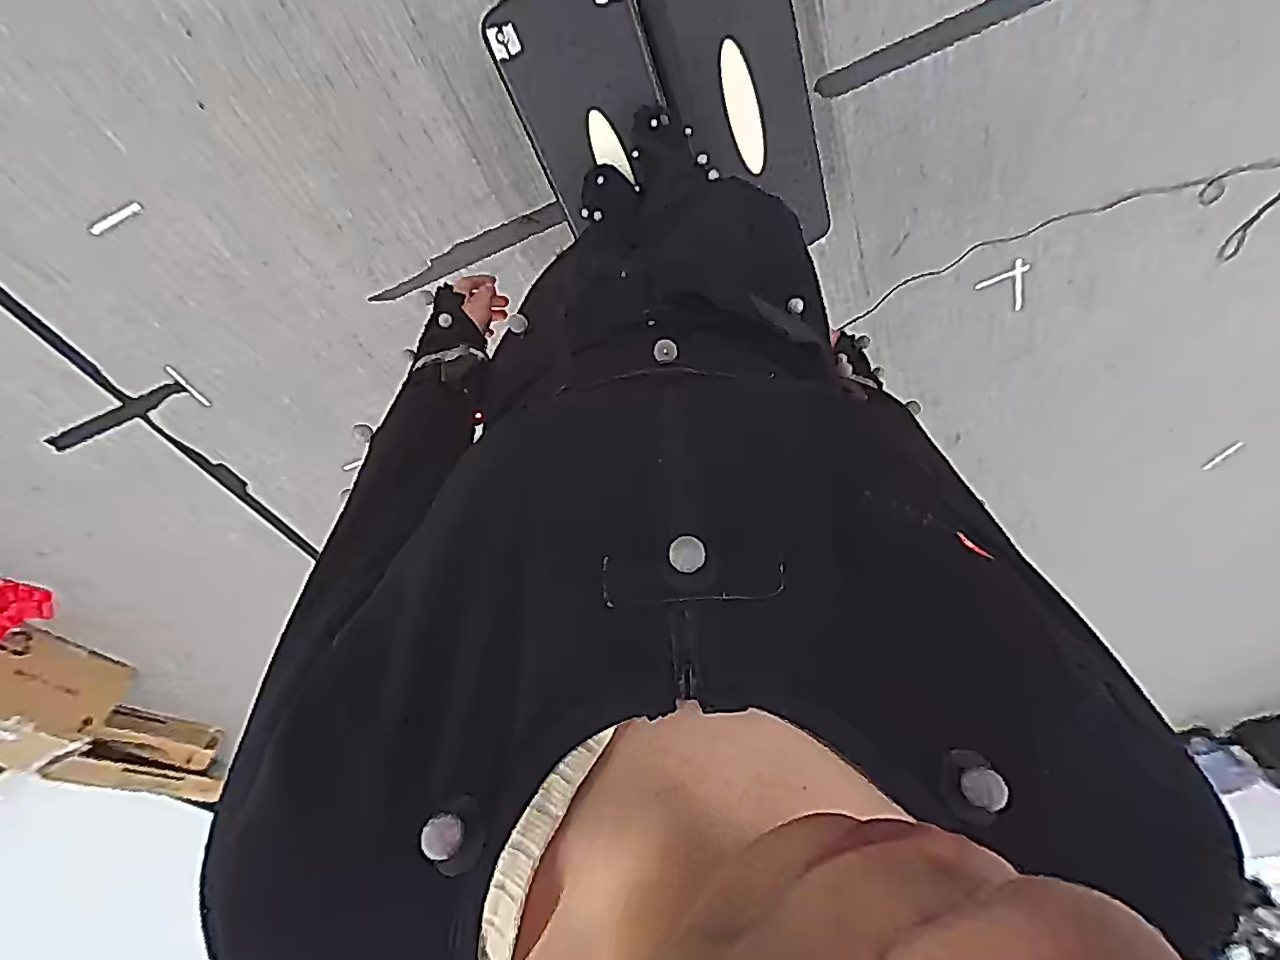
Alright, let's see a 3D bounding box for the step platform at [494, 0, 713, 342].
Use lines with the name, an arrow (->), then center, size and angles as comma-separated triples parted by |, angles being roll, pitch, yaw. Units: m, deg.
step platform -> -0.049, -0.656, 1.192 | 0.286, 0.204, 0.684 | -17, 125, 8
